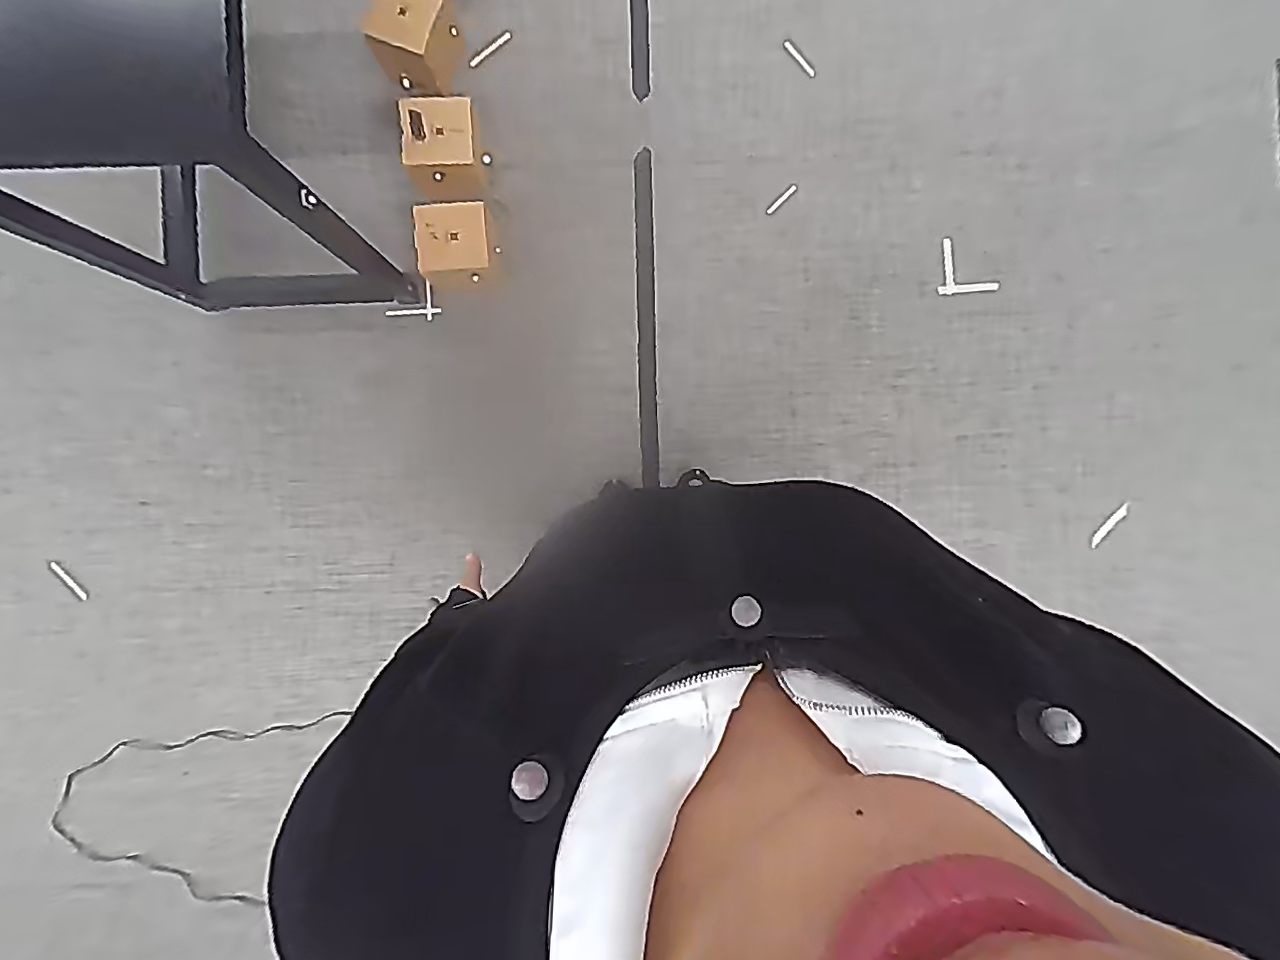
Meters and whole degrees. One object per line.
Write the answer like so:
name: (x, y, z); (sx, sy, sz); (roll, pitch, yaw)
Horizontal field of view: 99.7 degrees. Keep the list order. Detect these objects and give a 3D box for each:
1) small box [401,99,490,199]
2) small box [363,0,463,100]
small box: (-0.503, -0.857, 1.414); (0.179, 0.176, 0.168); (-3, 91, -3)
small box: (-0.580, -1.149, 1.410); (0.168, 0.176, 0.179); (19, 91, -1)
